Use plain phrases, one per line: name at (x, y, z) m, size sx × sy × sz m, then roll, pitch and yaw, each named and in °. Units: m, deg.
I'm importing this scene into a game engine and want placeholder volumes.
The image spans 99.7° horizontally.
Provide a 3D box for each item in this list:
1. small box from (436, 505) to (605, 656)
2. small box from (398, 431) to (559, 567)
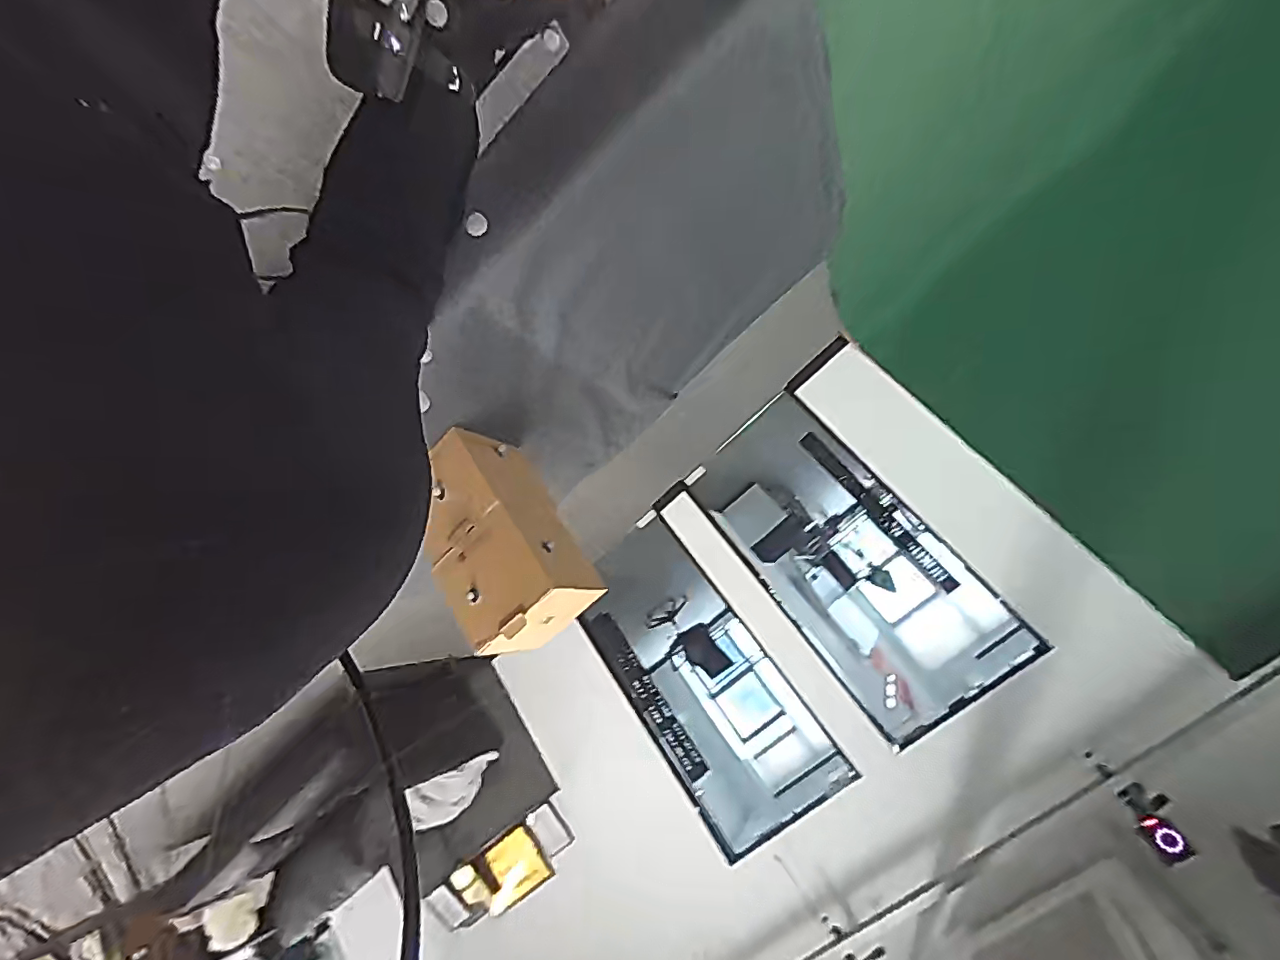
small box at (-0.194, 0.160, 0.880) m, size 0.168 × 0.176 × 0.179 m, roll -41°, pitch 158°, yaw 10°
small box at (-0.283, 0.038, 0.943) m, size 0.168 × 0.176 × 0.179 m, roll -43°, pitch 156°, yaw 12°
